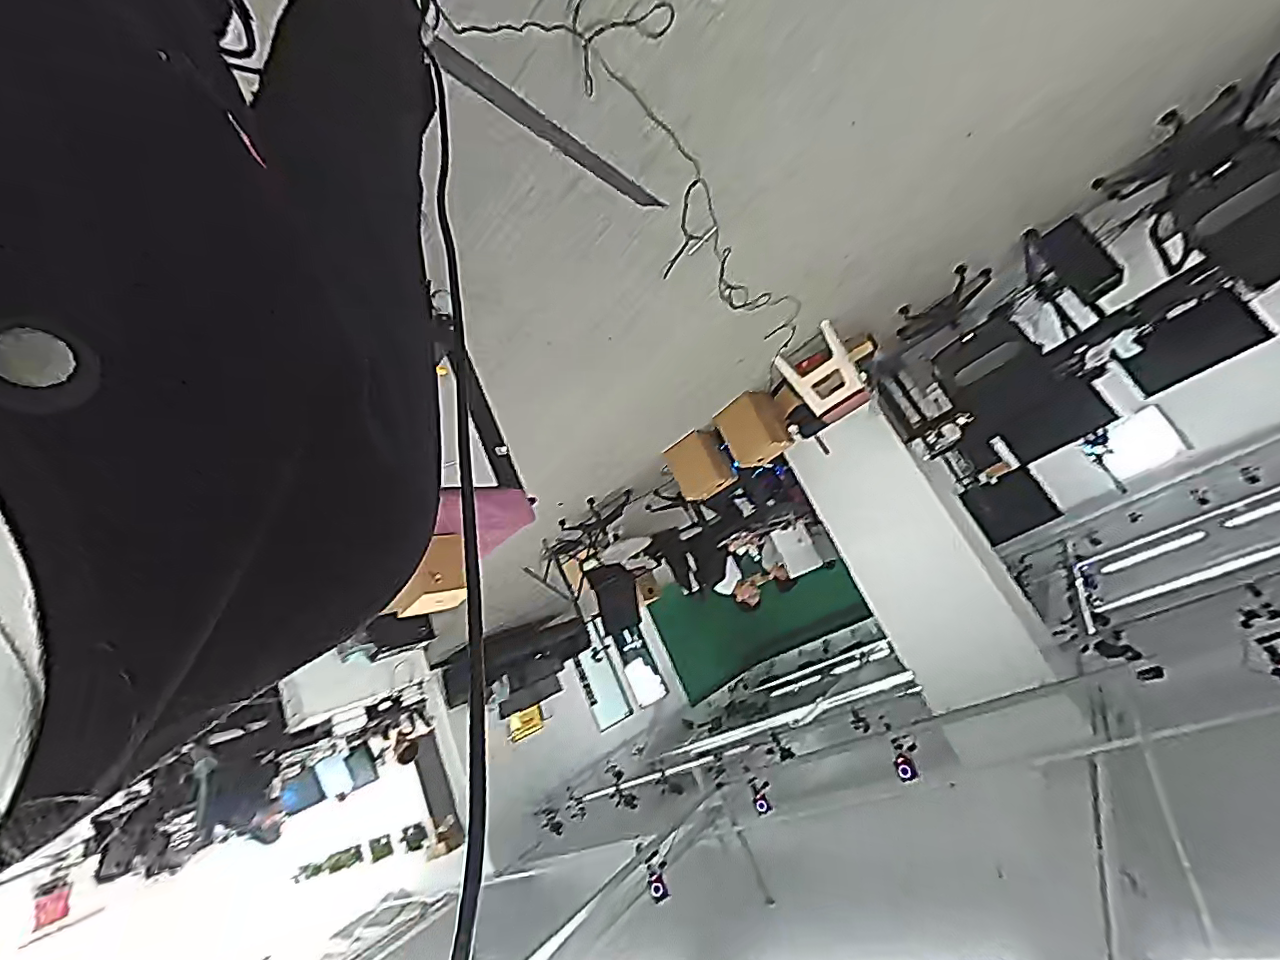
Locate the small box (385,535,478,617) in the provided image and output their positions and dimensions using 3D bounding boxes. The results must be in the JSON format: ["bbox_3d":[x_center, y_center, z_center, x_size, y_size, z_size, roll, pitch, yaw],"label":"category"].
[{"bbox_3d":[-0.599,0.268,1.536,0.168,0.176,0.179,-37,157,34],"label":"small box"}]
